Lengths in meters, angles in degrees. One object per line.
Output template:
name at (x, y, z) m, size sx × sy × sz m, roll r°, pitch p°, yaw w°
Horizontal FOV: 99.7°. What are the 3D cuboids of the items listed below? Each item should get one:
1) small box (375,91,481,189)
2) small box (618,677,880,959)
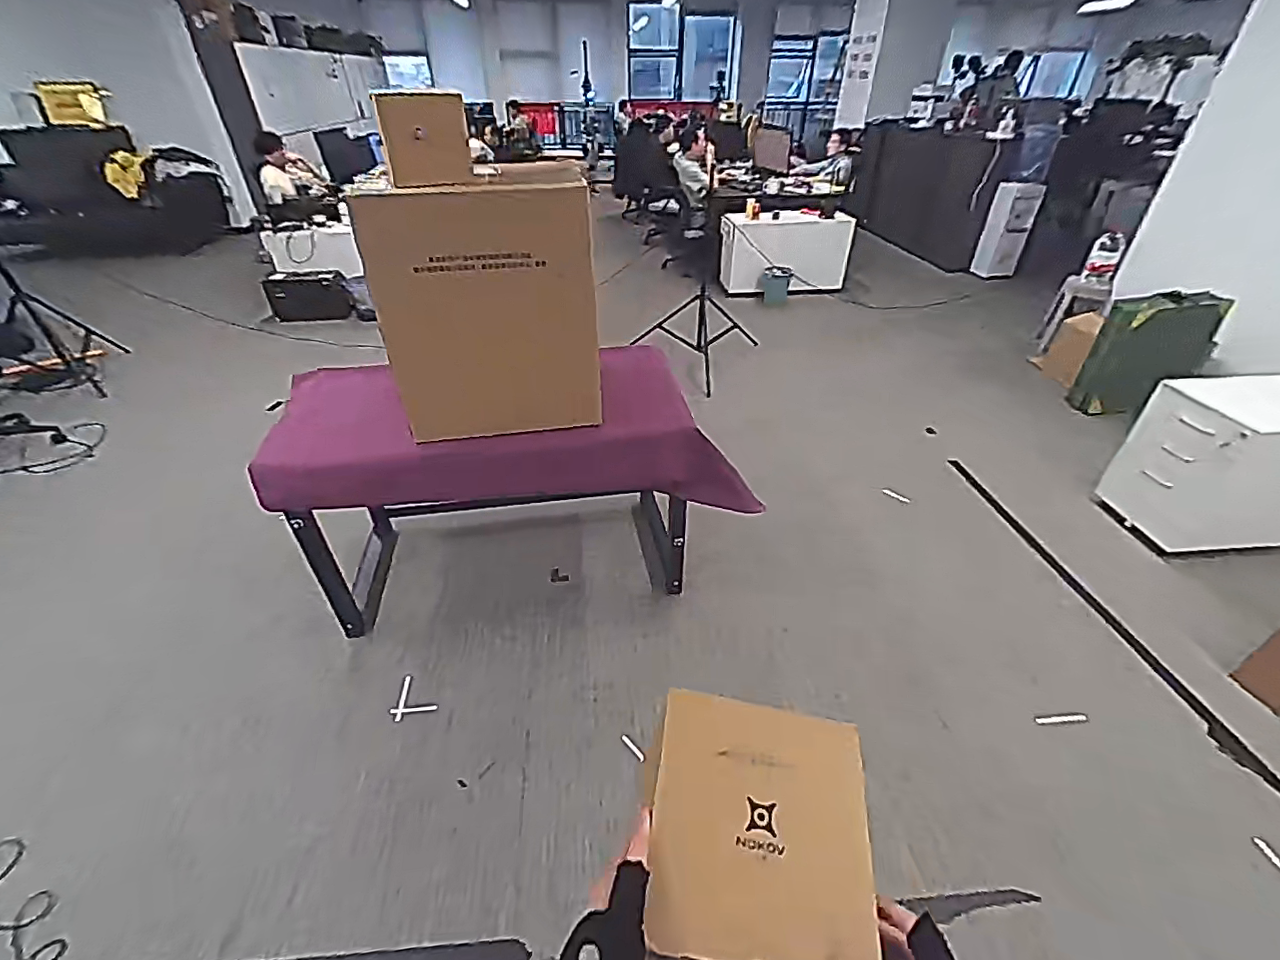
small box at (-0.472, -0.760, 1.209) m, size 0.179 × 0.176 × 0.168 m, roll -16°, pitch 41°, yaw -19°
small box at (0.079, 0.298, 0.460) m, size 0.168 × 0.176 × 0.179 m, roll 12°, pitch 48°, yaw 0°
